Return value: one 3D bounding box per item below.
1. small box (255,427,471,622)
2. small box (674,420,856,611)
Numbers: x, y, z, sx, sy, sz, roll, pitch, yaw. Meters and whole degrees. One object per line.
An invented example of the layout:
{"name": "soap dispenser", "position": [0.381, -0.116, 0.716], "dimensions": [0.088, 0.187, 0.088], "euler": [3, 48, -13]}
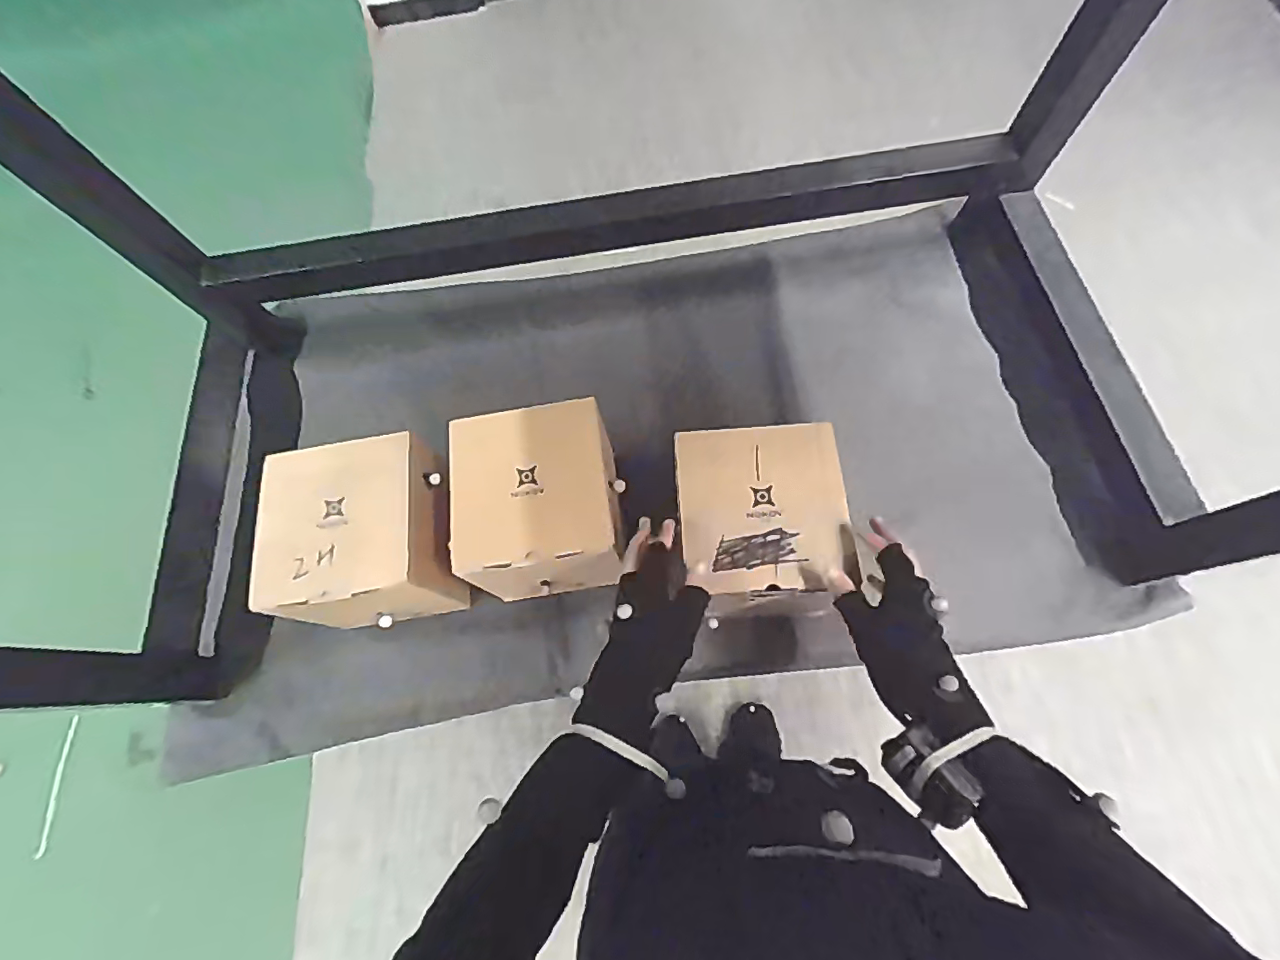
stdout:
{"name": "small box", "position": [-0.311, 0.061, 0.646], "dimensions": [0.168, 0.176, 0.179], "euler": [-10, 68, 1]}
{"name": "small box", "position": [0.127, 0.051, 0.612], "dimensions": [0.168, 0.176, 0.179], "euler": [-3, 67, 4]}
